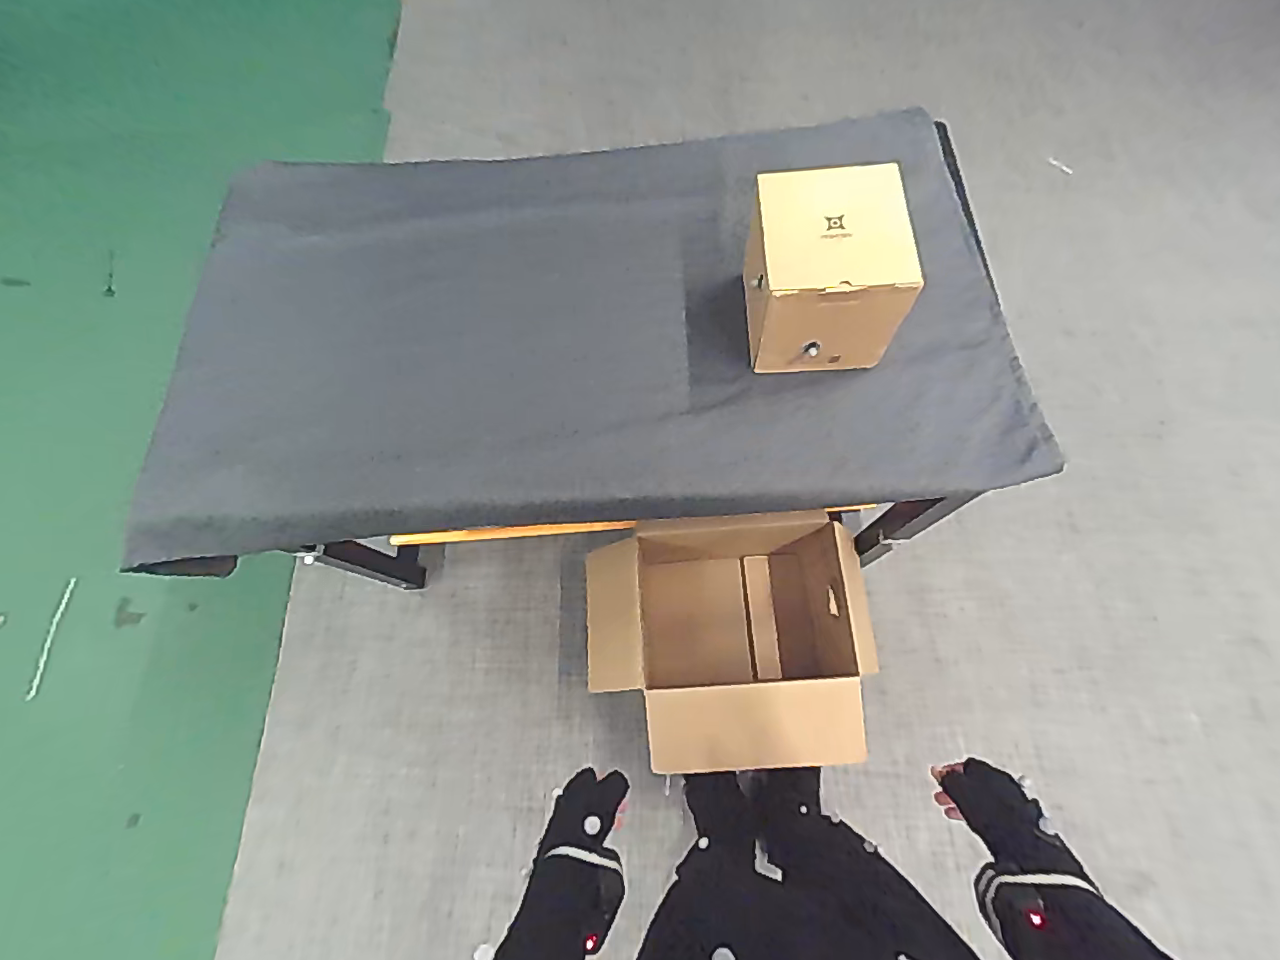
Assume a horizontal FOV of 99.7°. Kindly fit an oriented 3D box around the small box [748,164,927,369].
[{"bbox_3d":[0.232,-0.261,0.686,0.168,0.176,0.179,-2,70,4],"label":"small box"}]
